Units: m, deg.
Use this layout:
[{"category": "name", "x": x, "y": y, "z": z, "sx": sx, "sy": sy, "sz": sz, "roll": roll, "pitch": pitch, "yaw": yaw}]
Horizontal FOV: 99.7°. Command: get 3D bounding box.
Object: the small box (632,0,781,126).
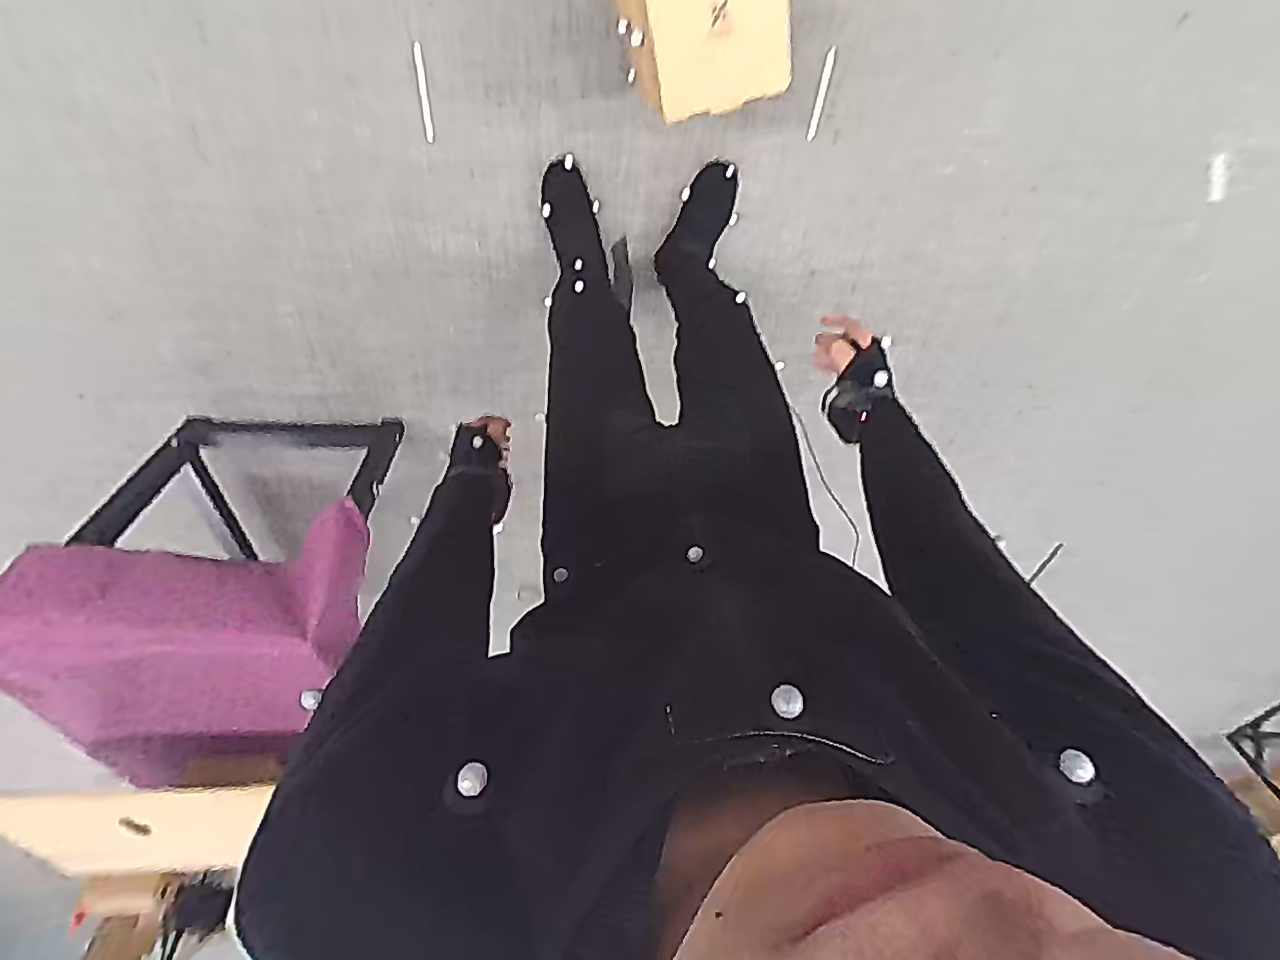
[{"category": "small box", "x": 0.083, "y": -0.603, "z": 0.717, "sx": 0.168, "sy": 0.176, "sz": 0.179, "roll": -12, "pitch": 132, "yaw": 4}]
